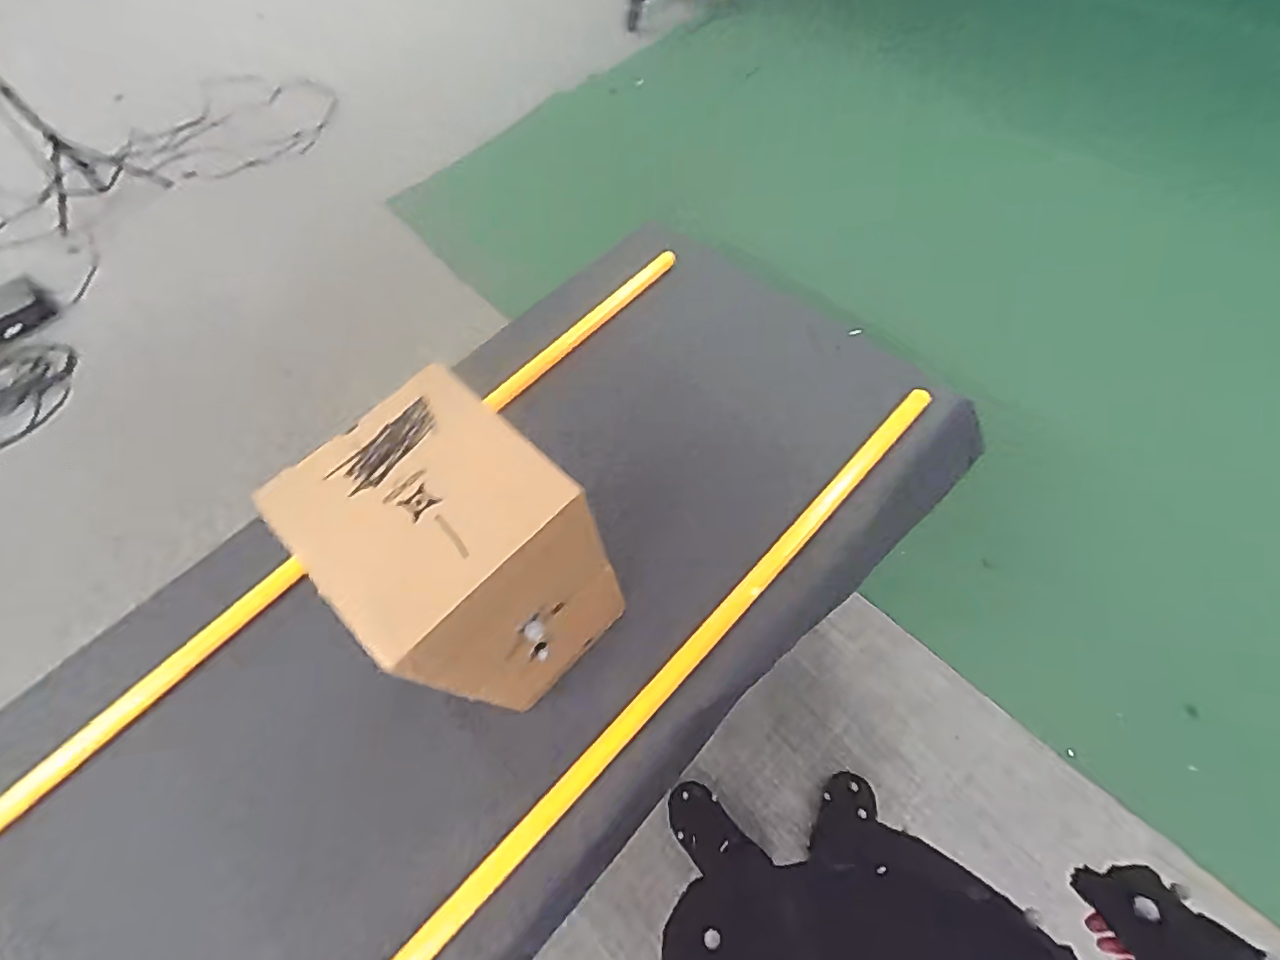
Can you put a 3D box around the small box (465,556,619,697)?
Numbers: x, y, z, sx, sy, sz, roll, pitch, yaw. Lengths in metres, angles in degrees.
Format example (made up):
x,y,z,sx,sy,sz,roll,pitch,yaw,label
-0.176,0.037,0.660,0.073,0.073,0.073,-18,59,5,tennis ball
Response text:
x,y,z,sx,sy,sz,roll,pitch,yaw,label
-0.144,0.119,0.604,0.179,0.176,0.168,40,73,22,small box

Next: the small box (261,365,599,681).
x,y,z,sx,sy,sz,roll,pitch,yaw,label
-0.156,0.045,0.457,0.179,0.176,0.168,40,72,20,small box
